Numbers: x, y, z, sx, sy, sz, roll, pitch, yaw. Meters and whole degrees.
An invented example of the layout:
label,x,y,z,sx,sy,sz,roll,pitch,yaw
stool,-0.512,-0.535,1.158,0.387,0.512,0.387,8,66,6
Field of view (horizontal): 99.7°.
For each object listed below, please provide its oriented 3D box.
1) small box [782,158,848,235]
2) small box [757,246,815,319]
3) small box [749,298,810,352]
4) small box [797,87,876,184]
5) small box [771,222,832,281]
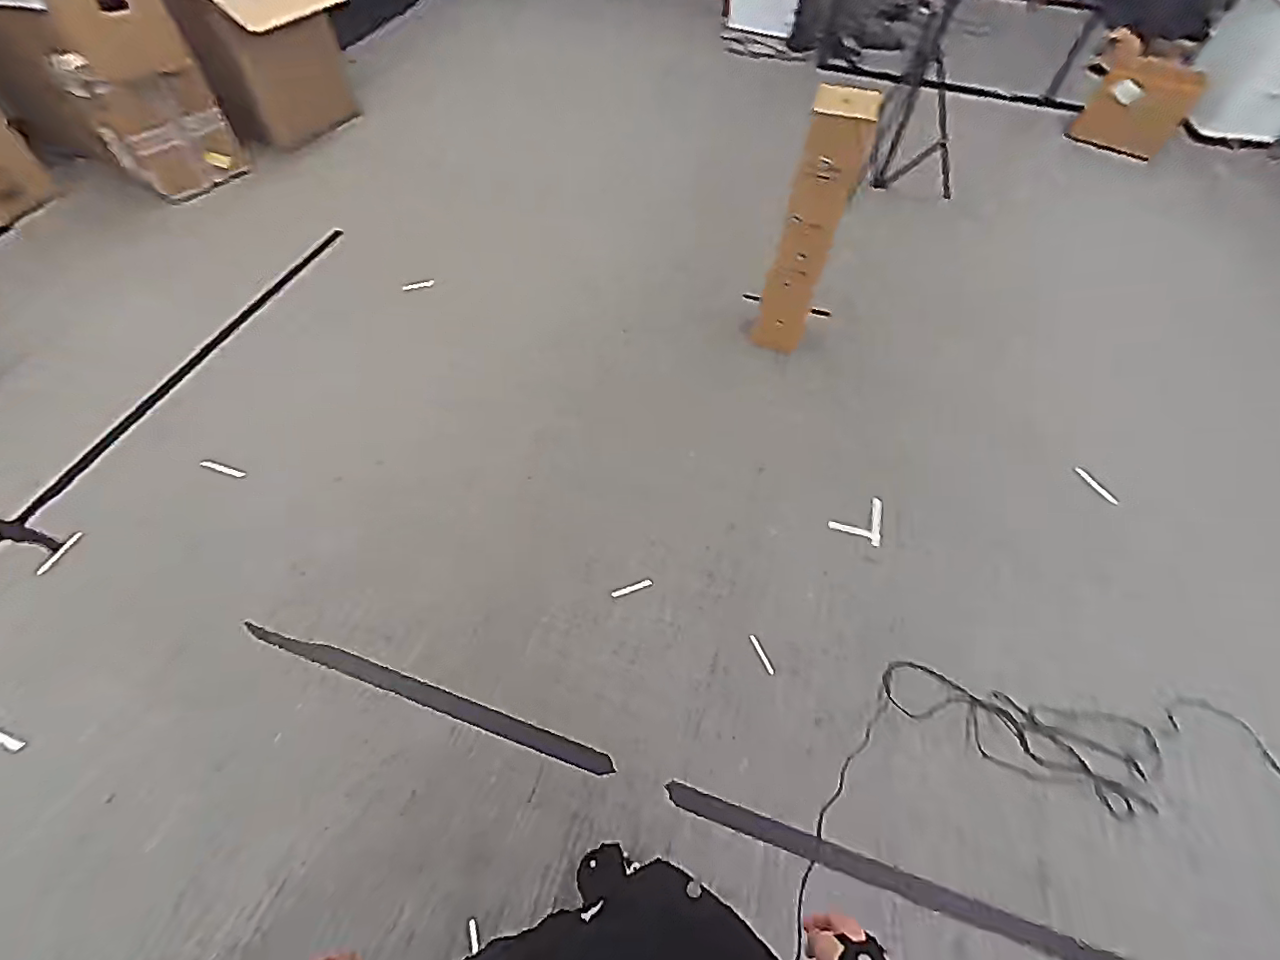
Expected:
label,x,y,z,sx,sy,sz,roll,pitch,yaw
small box,0.547,-0.888,1.672,0.168,0.176,0.179,16,57,9
small box,0.532,-0.706,1.944,0.179,0.176,0.168,18,59,10
small box,0.536,-0.617,2.082,0.179,0.176,0.168,16,58,8
small box,0.554,-0.977,1.536,0.168,0.176,0.179,14,58,9
small box,0.546,-0.796,1.808,0.168,0.176,0.179,17,59,9
